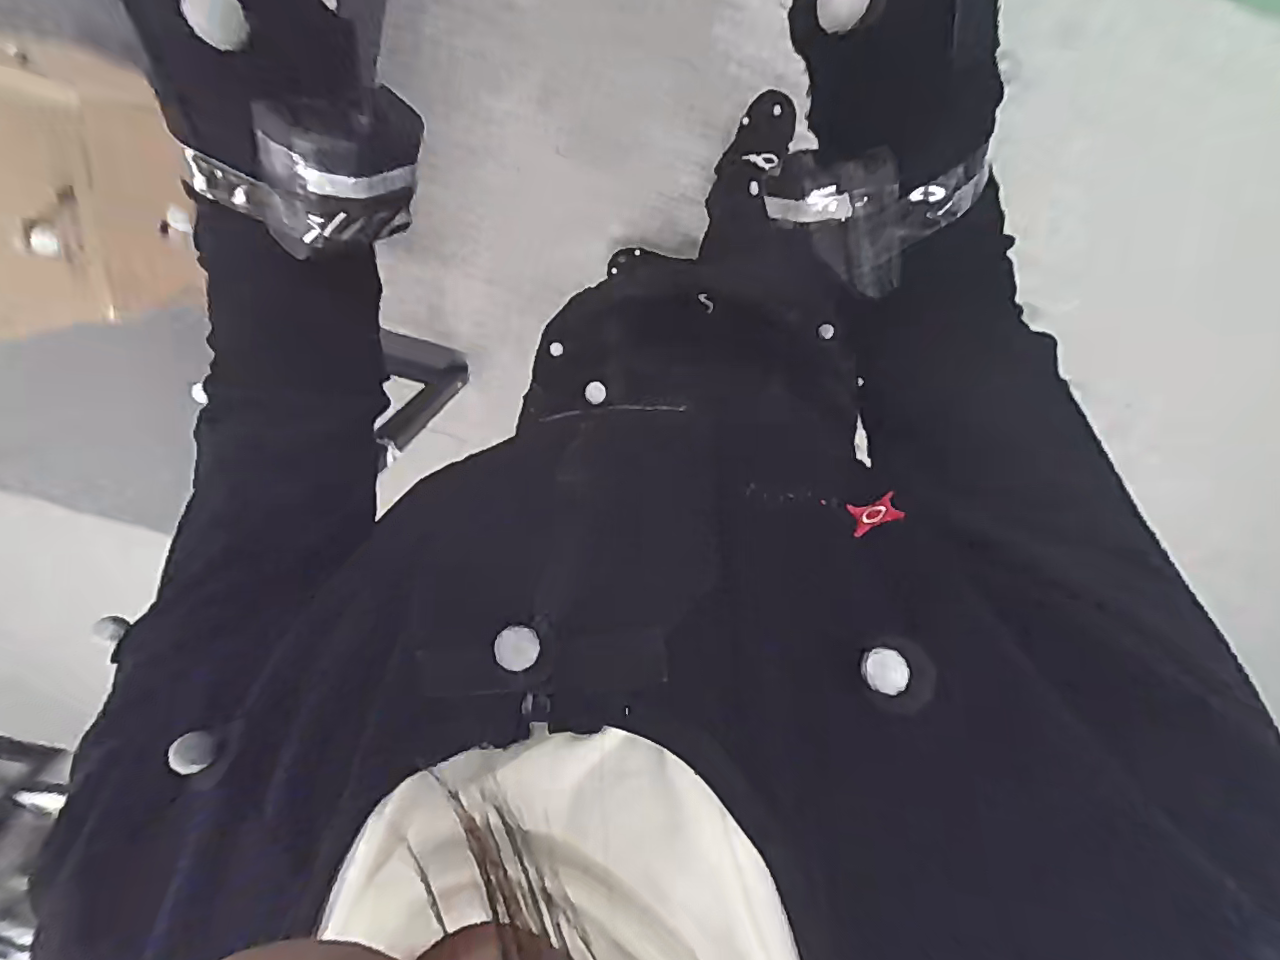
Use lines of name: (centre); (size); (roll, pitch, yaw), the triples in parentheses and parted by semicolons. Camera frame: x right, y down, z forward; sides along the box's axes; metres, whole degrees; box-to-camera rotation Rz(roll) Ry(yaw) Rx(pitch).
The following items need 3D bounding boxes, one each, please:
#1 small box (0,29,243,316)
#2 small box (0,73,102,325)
small box: (-0.504, -0.281, 0.498); (0.168, 0.176, 0.179); (20, 121, -5)
small box: (-0.527, -0.202, 0.355); (0.179, 0.176, 0.168); (21, 120, -6)
